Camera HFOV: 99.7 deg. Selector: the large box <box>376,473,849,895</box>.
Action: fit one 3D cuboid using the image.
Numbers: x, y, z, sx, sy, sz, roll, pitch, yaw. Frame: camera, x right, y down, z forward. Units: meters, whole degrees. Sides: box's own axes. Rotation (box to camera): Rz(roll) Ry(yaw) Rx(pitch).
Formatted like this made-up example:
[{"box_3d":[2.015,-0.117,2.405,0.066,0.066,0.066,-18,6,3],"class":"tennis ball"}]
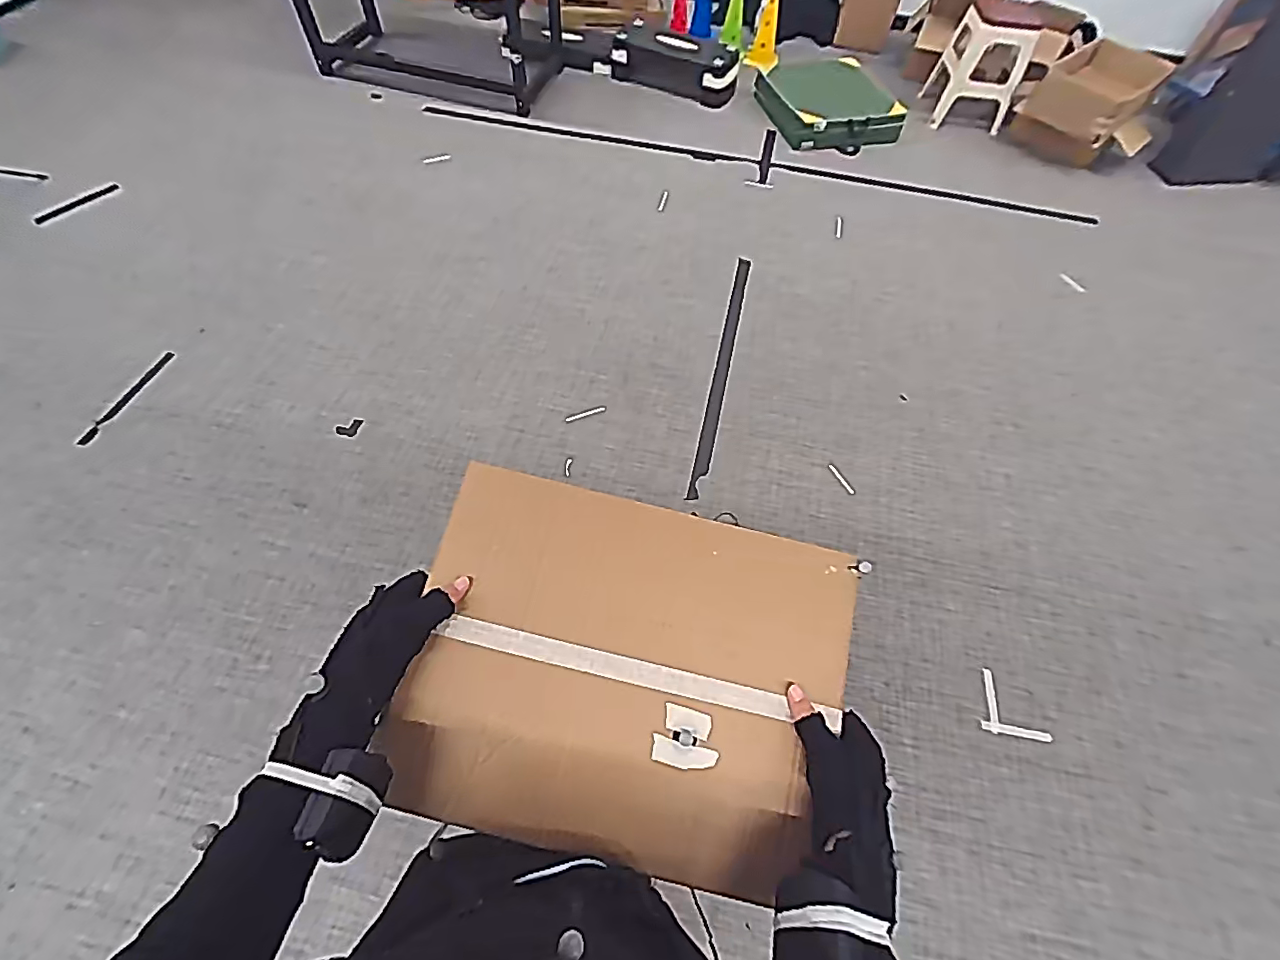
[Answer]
[{"box_3d":[-0.018,0.220,0.658,0.408,0.320,0.320,14,74,1],"class":"large box"}]
